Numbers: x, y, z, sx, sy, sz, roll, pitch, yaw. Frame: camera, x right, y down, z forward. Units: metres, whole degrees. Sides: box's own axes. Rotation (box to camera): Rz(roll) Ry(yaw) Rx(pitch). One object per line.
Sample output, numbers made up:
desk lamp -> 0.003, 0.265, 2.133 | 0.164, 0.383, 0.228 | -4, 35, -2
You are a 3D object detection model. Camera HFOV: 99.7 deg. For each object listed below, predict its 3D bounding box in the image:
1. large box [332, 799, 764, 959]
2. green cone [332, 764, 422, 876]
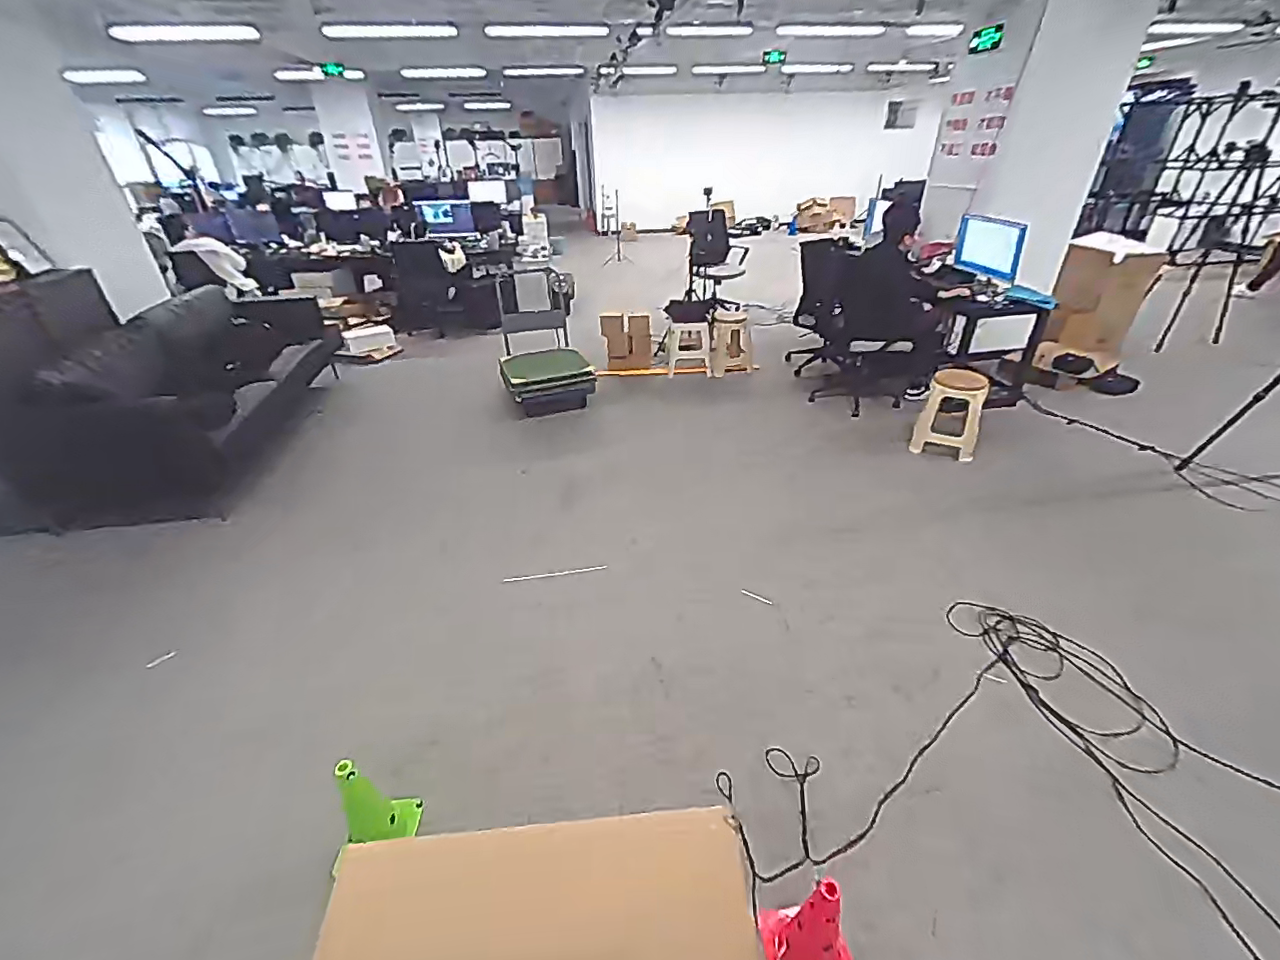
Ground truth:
large box -> -0.081, 0.578, 0.565 | 0.408, 0.320, 0.320 | -4, 44, -4
green cone -> -0.754, 0.879, 1.462 | 0.200, 0.368, 0.202 | -3, 34, -1
